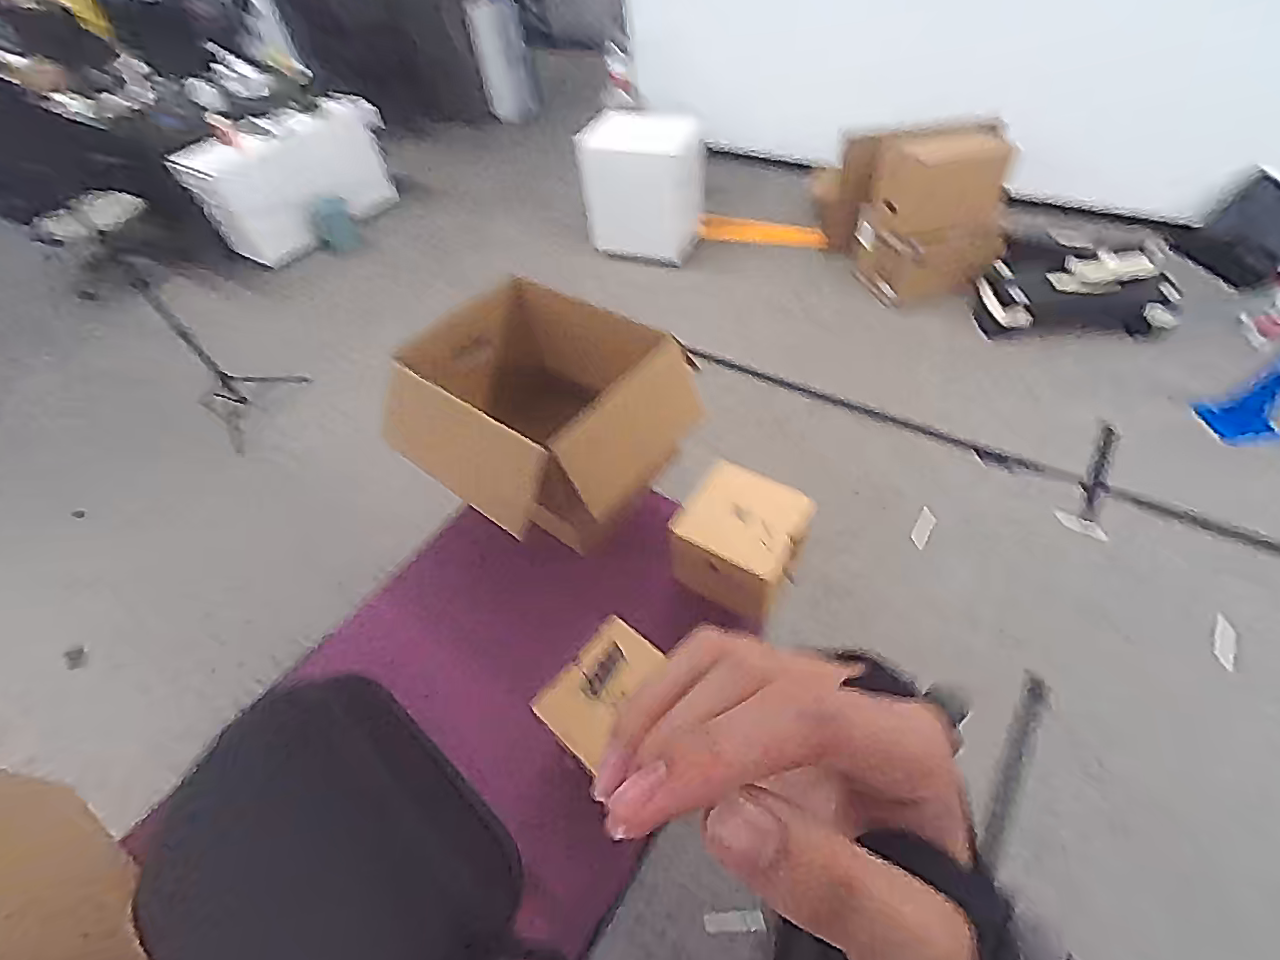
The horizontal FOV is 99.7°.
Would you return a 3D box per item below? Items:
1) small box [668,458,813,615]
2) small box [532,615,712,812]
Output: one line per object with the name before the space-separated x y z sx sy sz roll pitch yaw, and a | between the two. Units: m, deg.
small box | 0.166 0.099 0.911 0.179 0.176 0.168 25 60 25
small box | -0.018 0.329 0.754 0.179 0.176 0.168 33 62 27
